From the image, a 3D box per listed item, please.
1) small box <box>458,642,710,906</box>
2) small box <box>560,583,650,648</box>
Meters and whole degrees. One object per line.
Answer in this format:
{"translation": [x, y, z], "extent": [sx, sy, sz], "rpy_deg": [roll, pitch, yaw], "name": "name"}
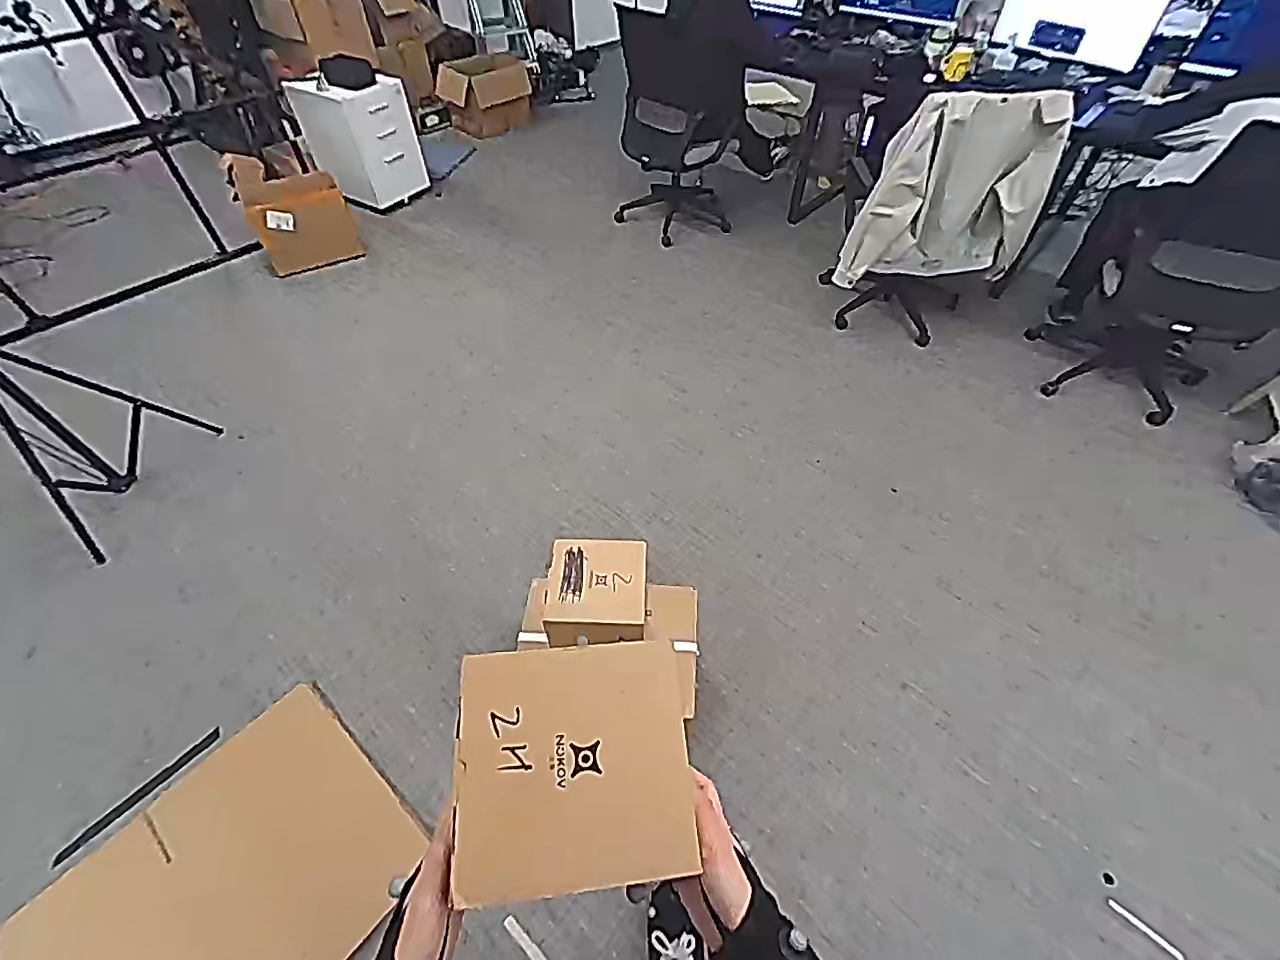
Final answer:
{"translation": [-0.052, 0.246, 0.476], "extent": [0.179, 0.176, 0.168], "rpy_deg": [-2, 62, -8], "name": "small box"}
{"translation": [-0.068, 0.334, 1.148], "extent": [0.179, 0.176, 0.168], "rpy_deg": [1, 51, 0], "name": "small box"}
